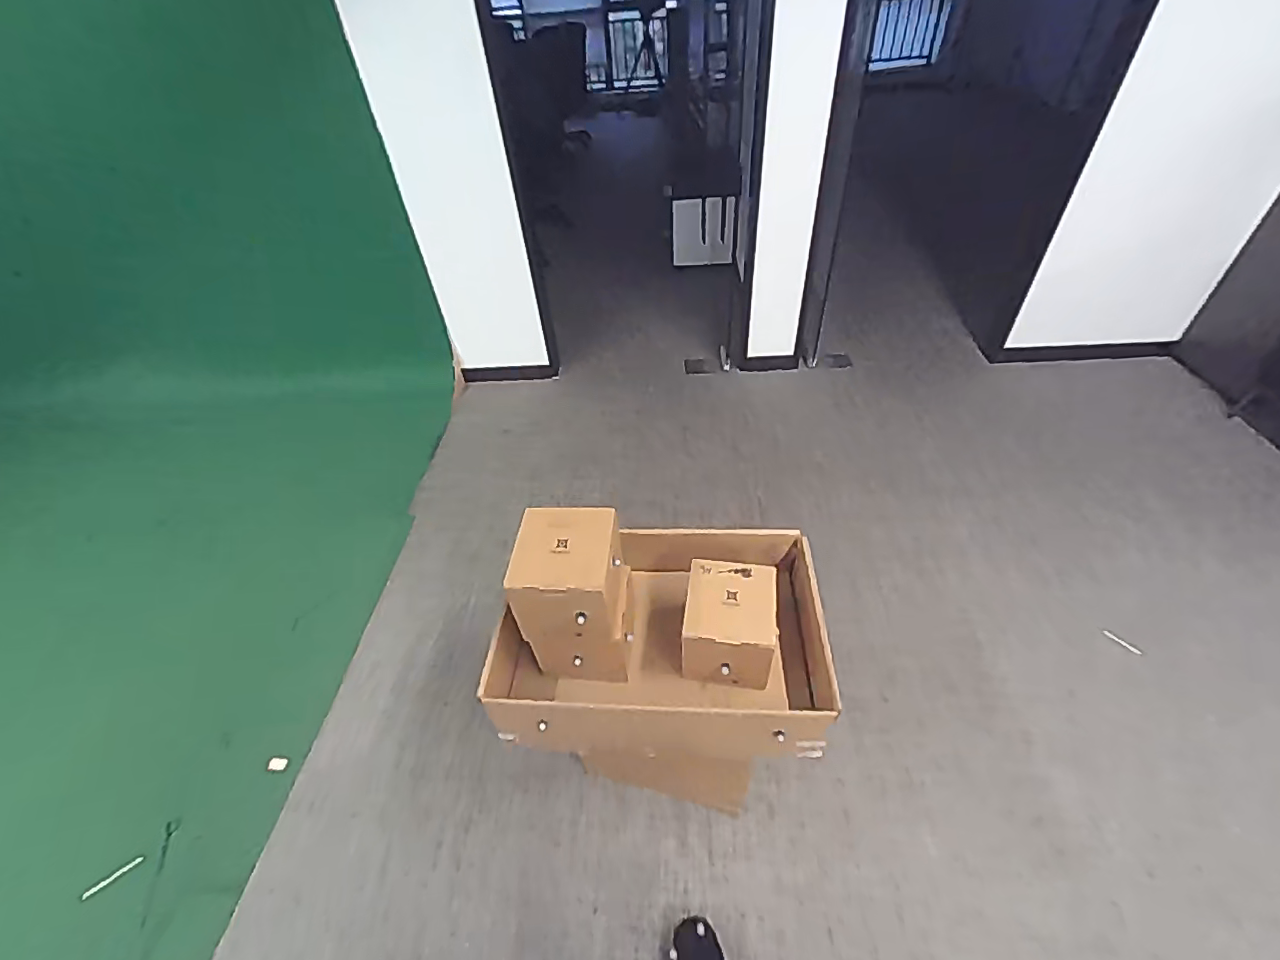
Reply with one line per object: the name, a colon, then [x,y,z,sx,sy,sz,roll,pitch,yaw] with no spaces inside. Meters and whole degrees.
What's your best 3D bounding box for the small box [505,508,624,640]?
small box: [-0.123,0.169,0.970,0.168,0.176,0.179,0,44,6]
